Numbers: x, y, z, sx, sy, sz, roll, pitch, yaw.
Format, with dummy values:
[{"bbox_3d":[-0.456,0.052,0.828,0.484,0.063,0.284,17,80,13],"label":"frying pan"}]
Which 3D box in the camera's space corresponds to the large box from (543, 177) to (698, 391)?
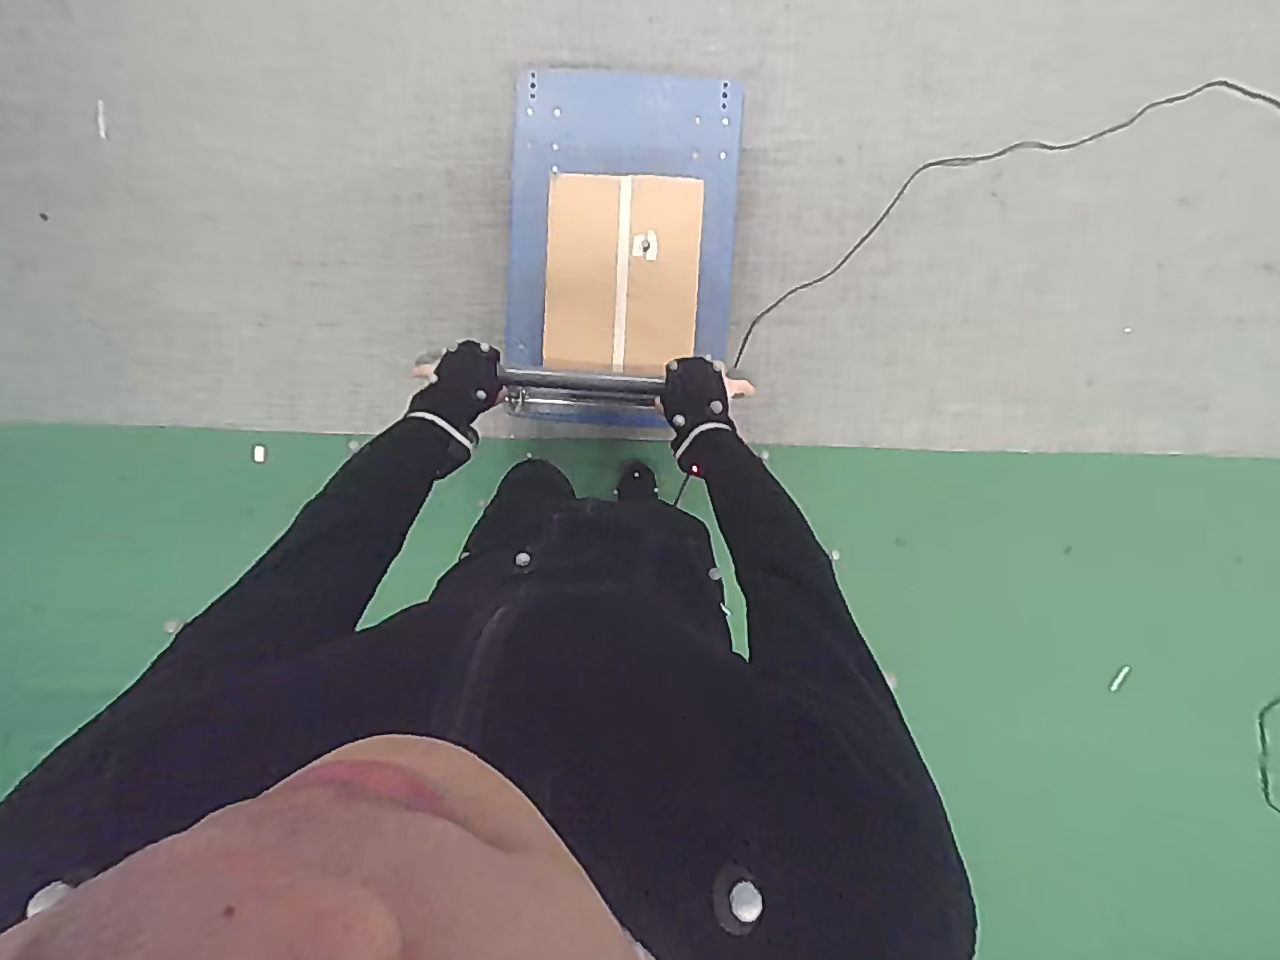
[{"bbox_3d":[-0.039,-0.422,1.256,0.320,0.320,0.408,3,95,0],"label":"large box"}]
